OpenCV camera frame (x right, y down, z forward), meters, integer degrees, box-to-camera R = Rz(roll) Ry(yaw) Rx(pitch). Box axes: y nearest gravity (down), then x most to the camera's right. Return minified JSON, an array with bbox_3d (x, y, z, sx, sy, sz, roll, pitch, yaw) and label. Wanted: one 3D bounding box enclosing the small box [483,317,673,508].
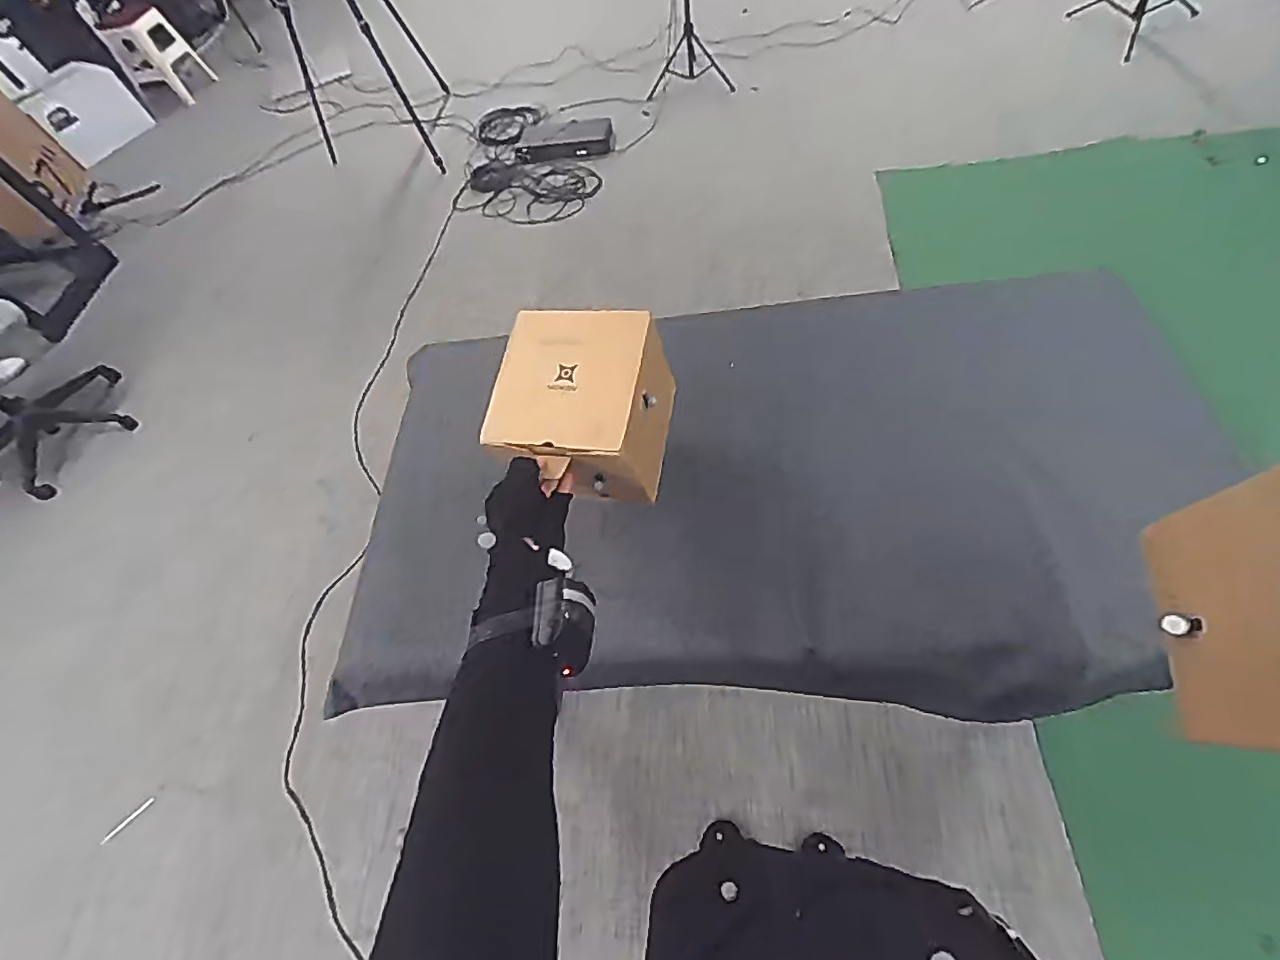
[{"bbox_3d":[-0.061,-0.076,0.664,0.168,0.176,0.179,5,68,15],"label":"small box"}]
